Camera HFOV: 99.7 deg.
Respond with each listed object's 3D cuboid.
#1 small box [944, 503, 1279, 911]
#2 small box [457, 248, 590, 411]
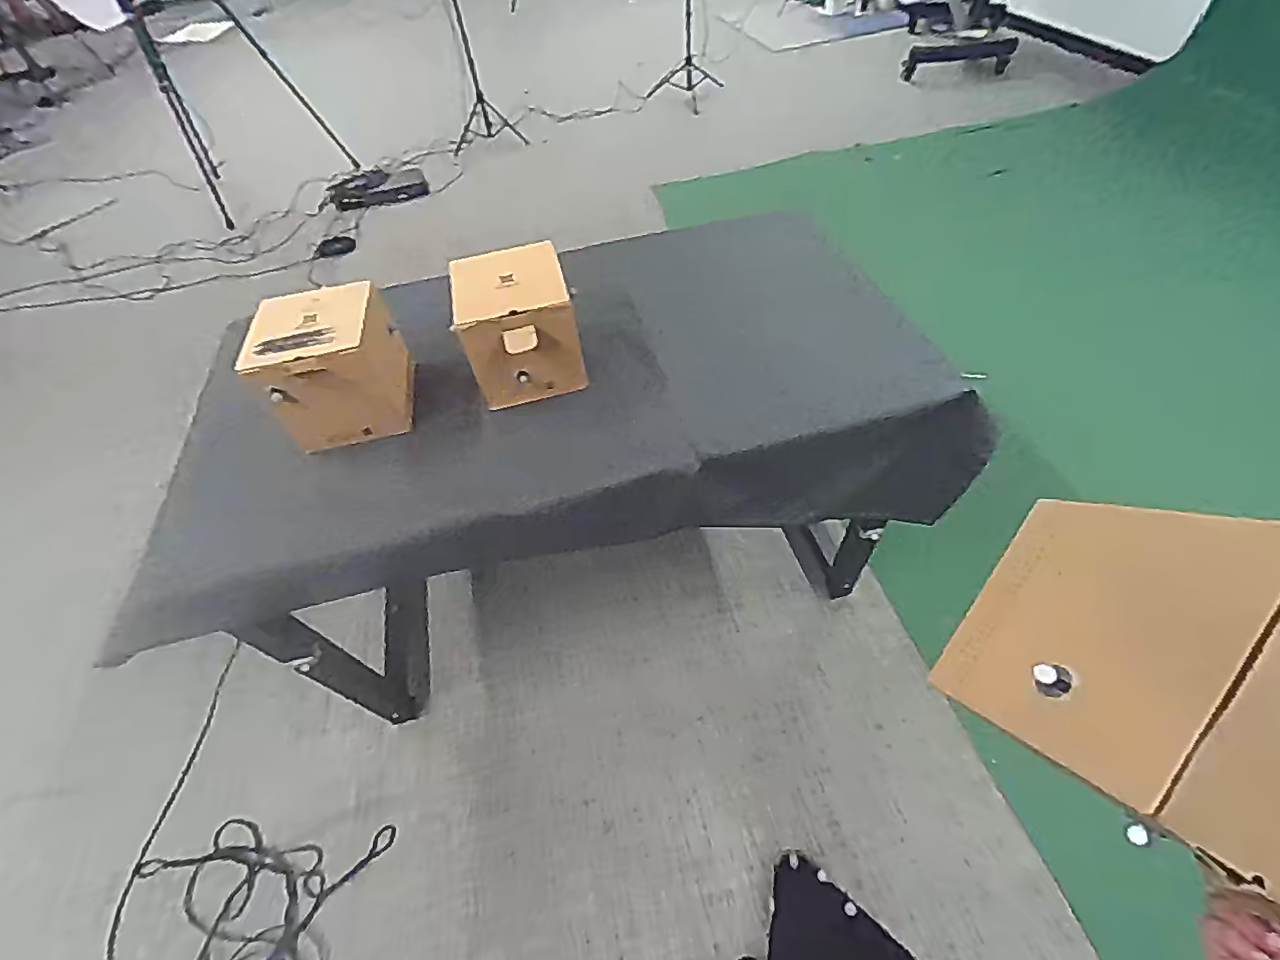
[{"bbox_3d":[0.348,0.133,0.361,0.168,0.176,0.179,33,87,-10],"label":"small box"},{"bbox_3d":[-0.183,-0.239,0.867,0.168,0.176,0.179,-14,53,-6],"label":"small box"}]
